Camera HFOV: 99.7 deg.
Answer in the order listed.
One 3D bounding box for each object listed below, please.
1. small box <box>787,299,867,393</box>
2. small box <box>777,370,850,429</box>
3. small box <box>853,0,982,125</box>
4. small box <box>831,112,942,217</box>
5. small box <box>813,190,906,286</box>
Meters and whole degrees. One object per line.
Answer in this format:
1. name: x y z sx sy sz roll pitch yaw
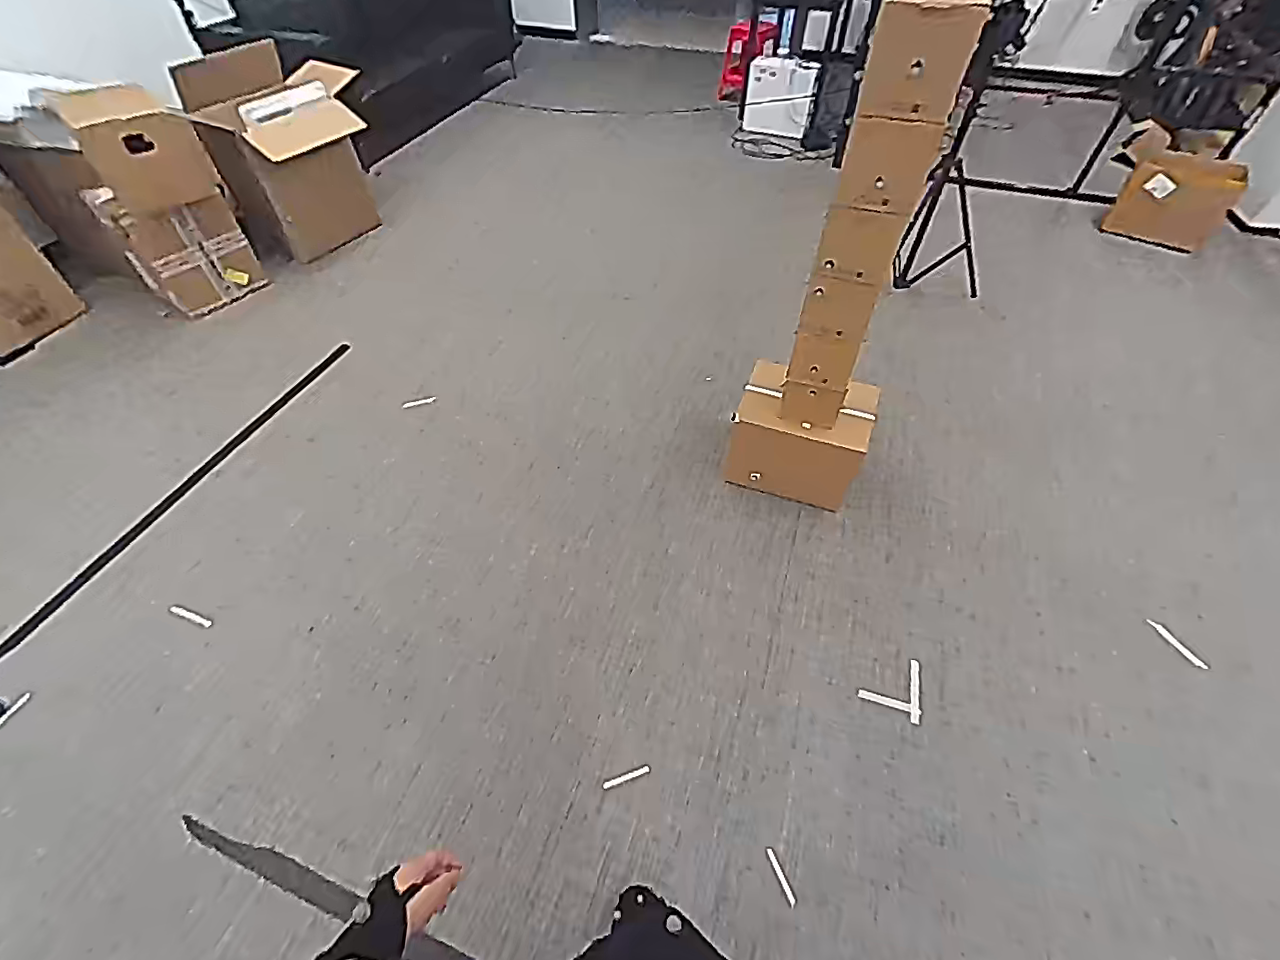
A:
1. small box: 0.518 -0.374 1.512 0.168 0.176 0.179 15 54 13
2. small box: 0.527 -0.278 1.642 0.179 0.176 0.168 15 54 11
3. small box: 0.502 -0.782 0.997 0.168 0.176 0.179 14 54 12
4. small box: 0.508 -0.677 1.123 0.168 0.176 0.179 14 54 13
5. small box: 0.511 -0.576 1.253 0.168 0.176 0.179 17 54 14
